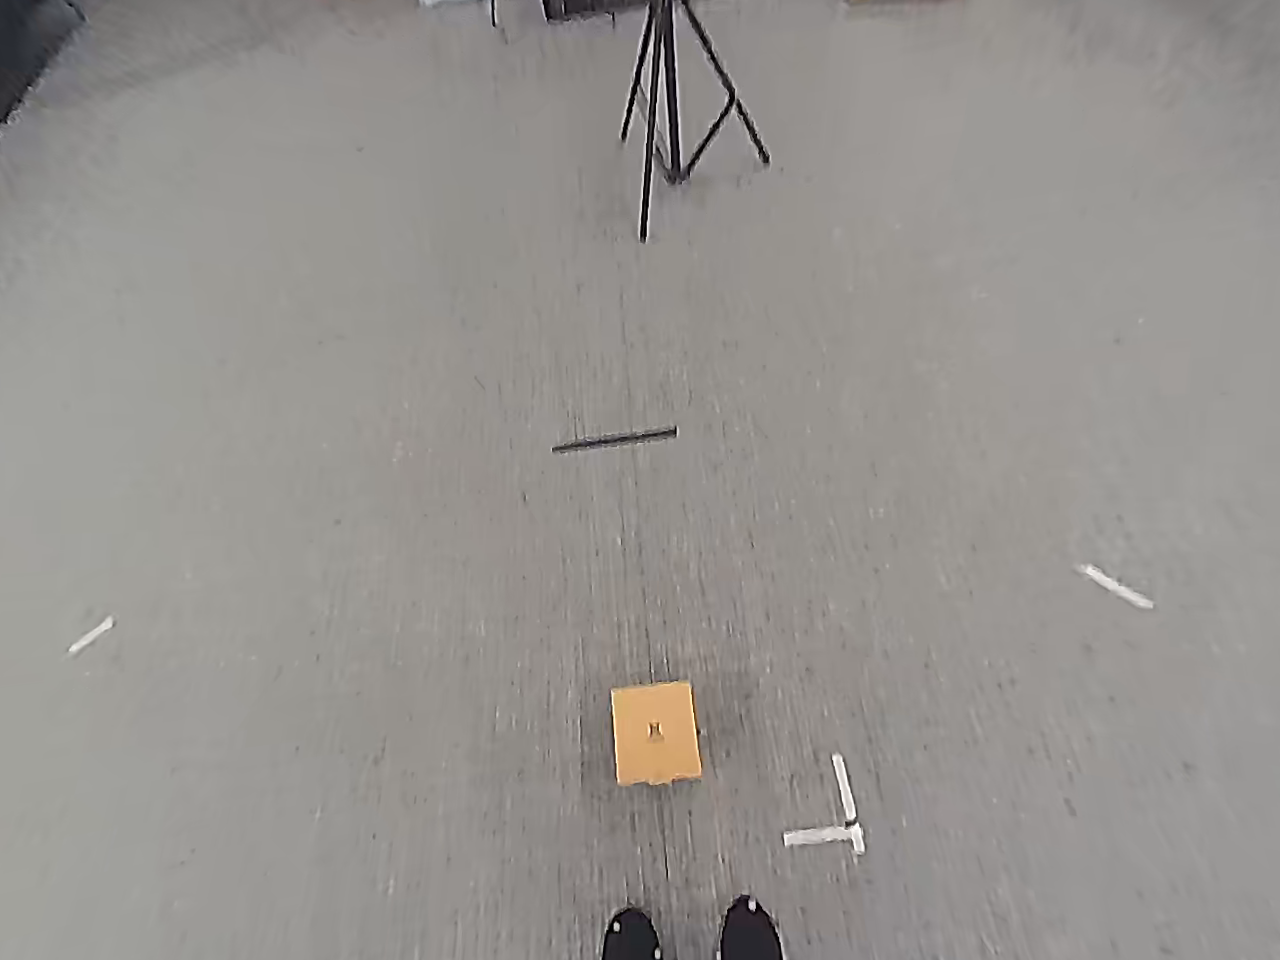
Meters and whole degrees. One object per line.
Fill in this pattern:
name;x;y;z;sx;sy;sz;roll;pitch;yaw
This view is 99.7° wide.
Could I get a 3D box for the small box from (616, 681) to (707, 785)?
small box;0.046;0.535;1.141;0.168;0.176;0.179;-8;63;3
